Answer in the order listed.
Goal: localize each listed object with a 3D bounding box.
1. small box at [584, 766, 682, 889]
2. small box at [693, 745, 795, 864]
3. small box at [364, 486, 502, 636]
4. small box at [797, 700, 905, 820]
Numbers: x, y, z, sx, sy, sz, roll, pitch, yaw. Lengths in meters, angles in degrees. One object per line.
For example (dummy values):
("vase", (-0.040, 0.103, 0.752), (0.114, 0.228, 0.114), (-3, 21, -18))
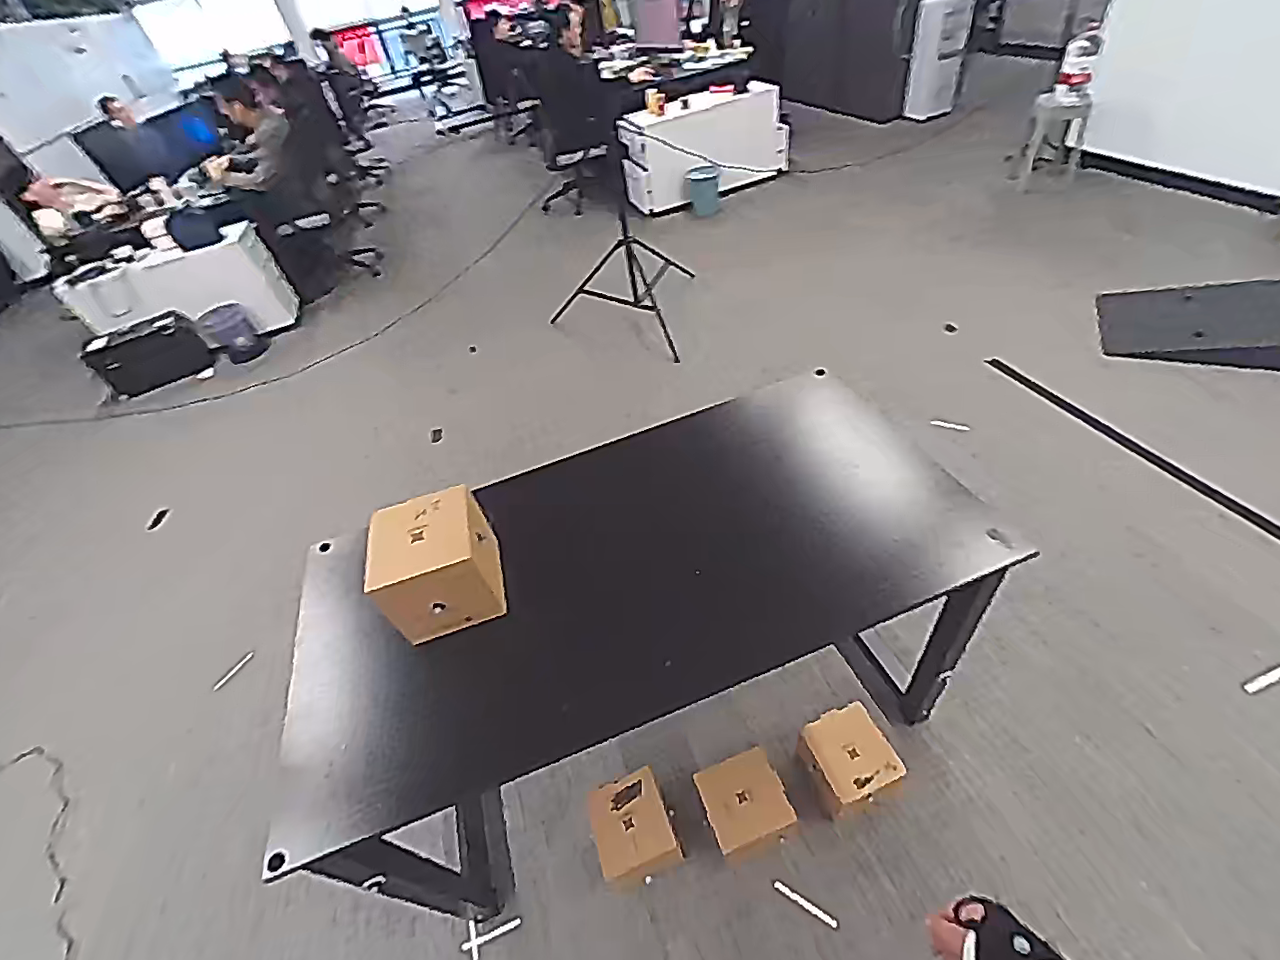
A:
("small box", (-0.015, 0.802, 1.246), (0.168, 0.176, 0.179), (-21, 46, -8))
("small box", (0.237, 0.748, 1.243), (0.179, 0.176, 0.168), (-21, 45, -6))
("small box", (-0.348, 0.146, 0.932), (0.168, 0.176, 0.179), (-18, 45, -6))
("small box", (0.482, 0.659, 1.271), (0.168, 0.176, 0.179), (-22, 45, -7))
